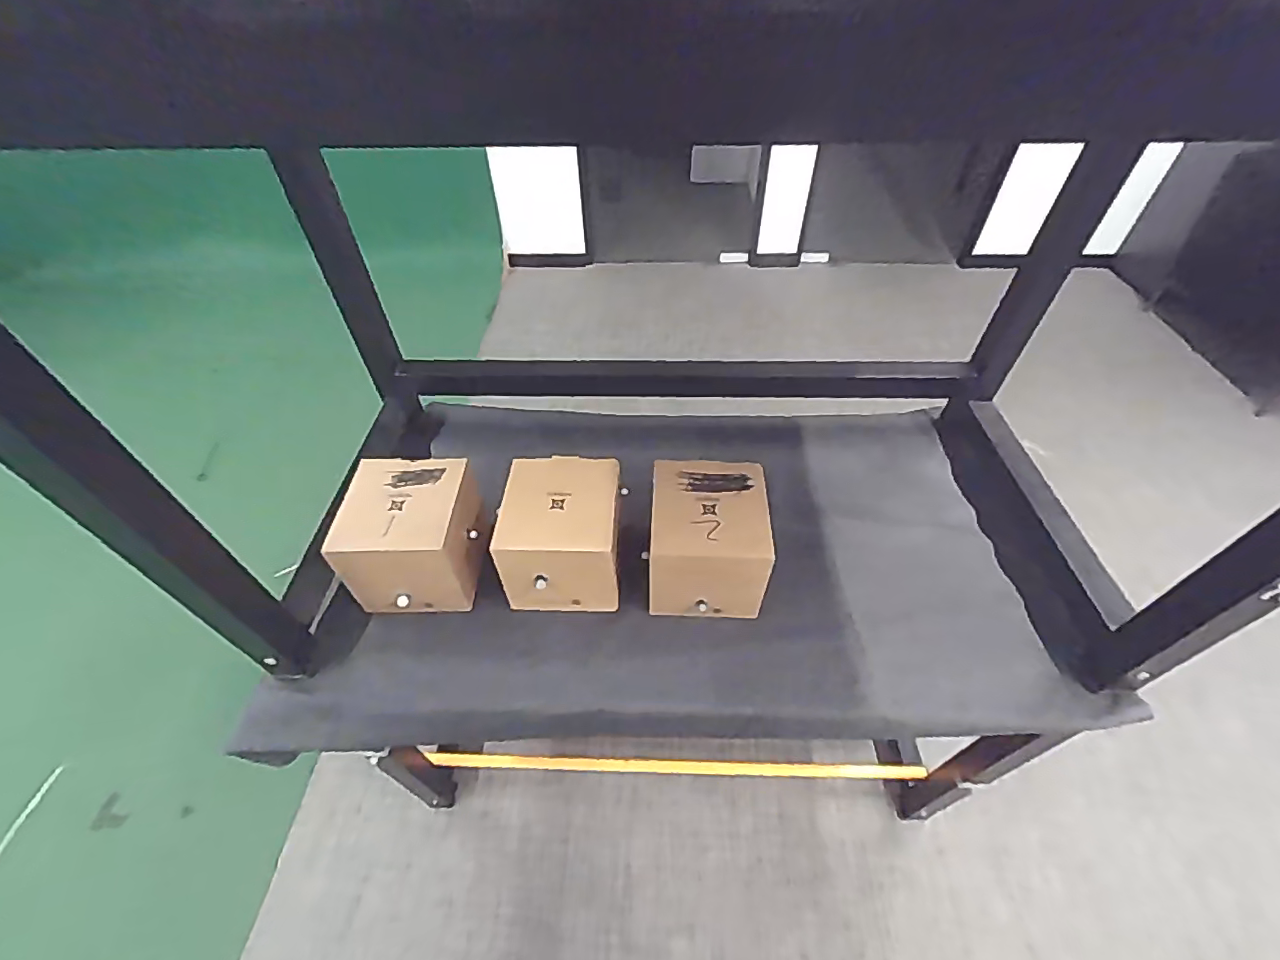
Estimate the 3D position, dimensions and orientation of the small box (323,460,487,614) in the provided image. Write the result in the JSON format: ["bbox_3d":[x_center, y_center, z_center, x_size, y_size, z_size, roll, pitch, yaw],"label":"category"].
[{"bbox_3d":[-0.344,0.087,0.834,0.168,0.176,0.179,-1,47,0],"label":"small box"}]

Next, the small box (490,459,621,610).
[{"bbox_3d":[-0.117,0.086,0.834,0.168,0.176,0.179,0,46,1],"label":"small box"}]
